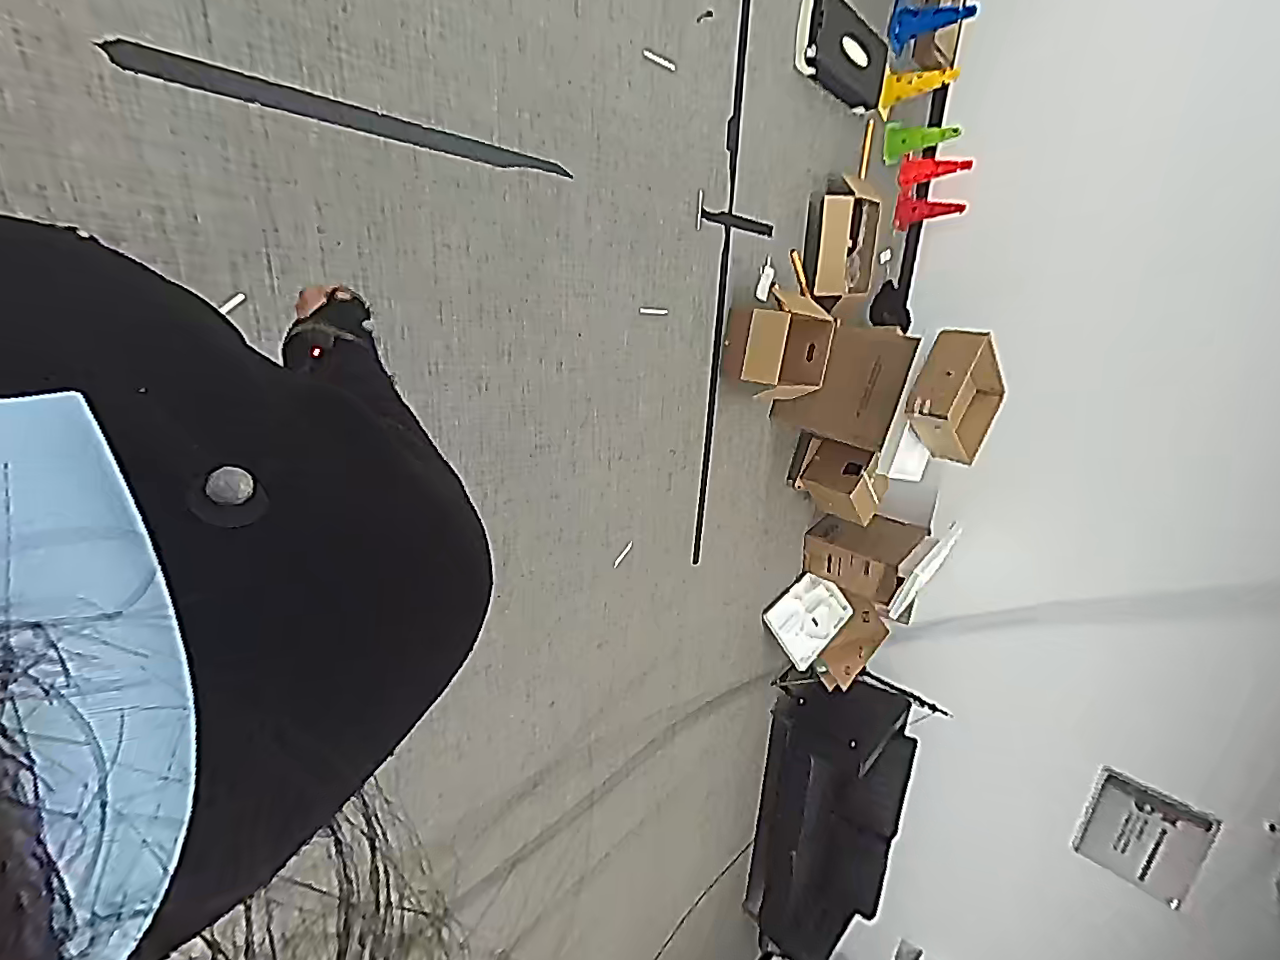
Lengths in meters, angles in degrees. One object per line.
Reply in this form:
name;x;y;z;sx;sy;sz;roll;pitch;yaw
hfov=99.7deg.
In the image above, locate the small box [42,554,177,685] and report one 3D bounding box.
small box;-1.088;0.279;1.116;0.168;0.176;0.179;-17;116;-43
